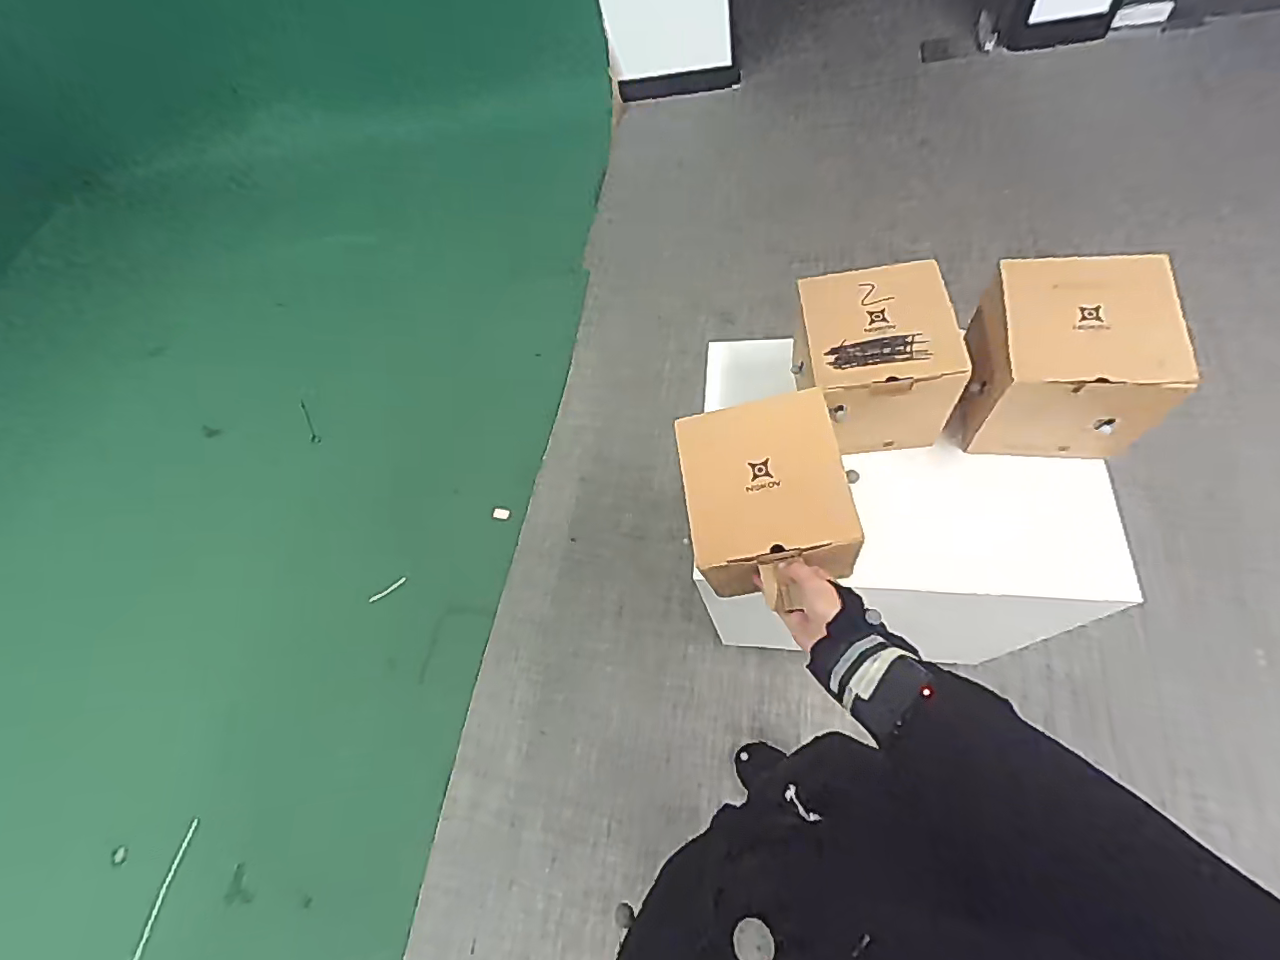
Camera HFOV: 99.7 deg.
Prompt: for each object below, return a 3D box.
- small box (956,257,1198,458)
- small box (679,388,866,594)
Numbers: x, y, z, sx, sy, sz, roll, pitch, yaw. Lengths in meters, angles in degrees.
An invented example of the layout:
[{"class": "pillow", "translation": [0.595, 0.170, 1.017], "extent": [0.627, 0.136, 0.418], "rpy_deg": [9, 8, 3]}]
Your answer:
[{"class": "small box", "translation": [0.503, -0.141, 0.656], "extent": [0.168, 0.176, 0.179], "rpy_deg": [4, 65, 14]}, {"class": "small box", "translation": [0.148, 0.023, 0.633], "extent": [0.168, 0.176, 0.179], "rpy_deg": [-12, 66, 11]}]
